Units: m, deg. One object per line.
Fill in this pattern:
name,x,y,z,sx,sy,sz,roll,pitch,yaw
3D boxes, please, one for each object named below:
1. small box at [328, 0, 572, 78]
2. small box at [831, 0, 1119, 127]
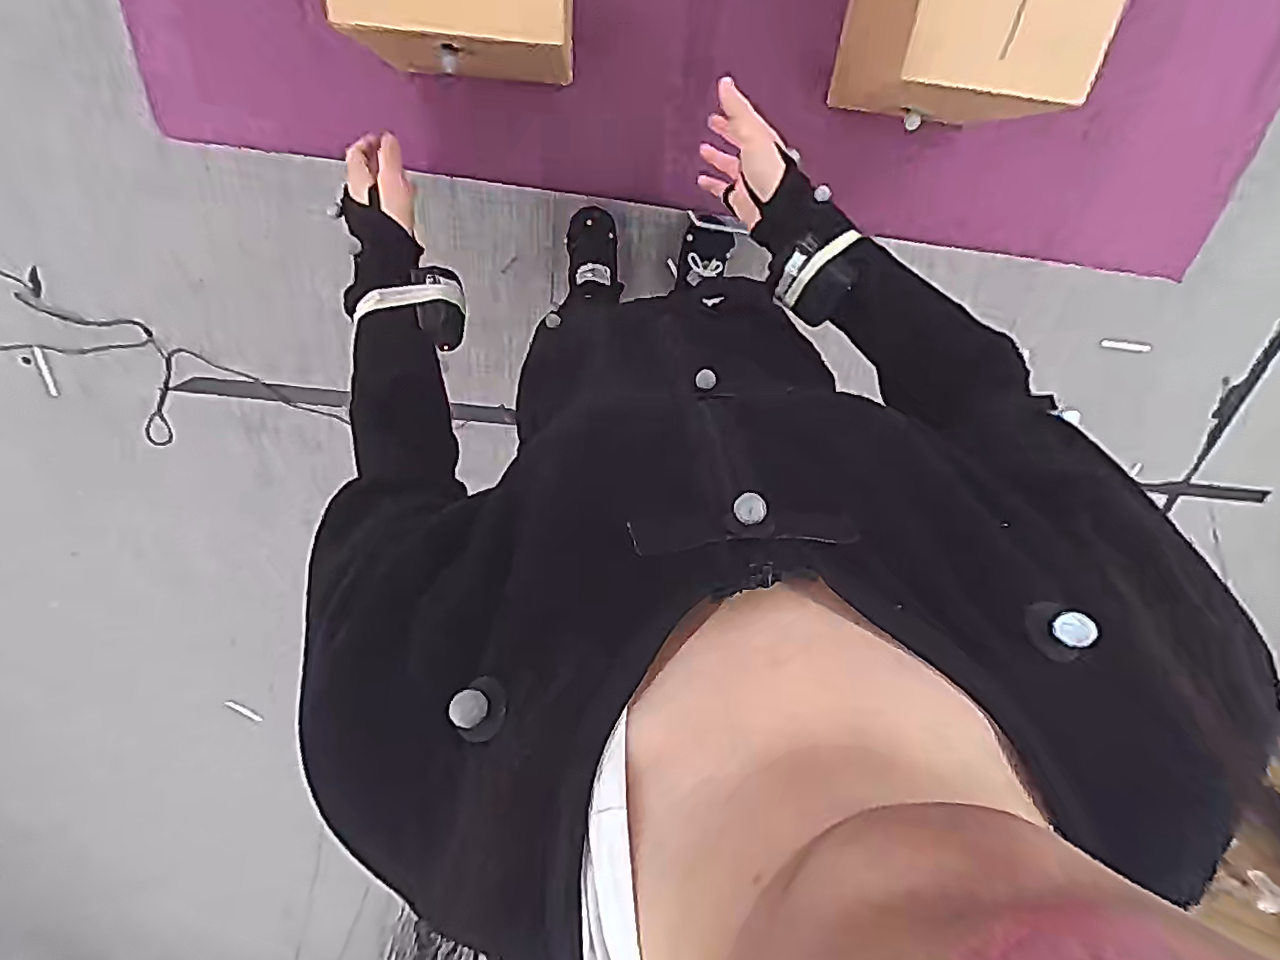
small box,-0.145,-0.449,0.444,0.179,0.176,0.168,2,118,-5
small box,0.293,-0.435,0.481,0.168,0.176,0.179,4,118,-6
